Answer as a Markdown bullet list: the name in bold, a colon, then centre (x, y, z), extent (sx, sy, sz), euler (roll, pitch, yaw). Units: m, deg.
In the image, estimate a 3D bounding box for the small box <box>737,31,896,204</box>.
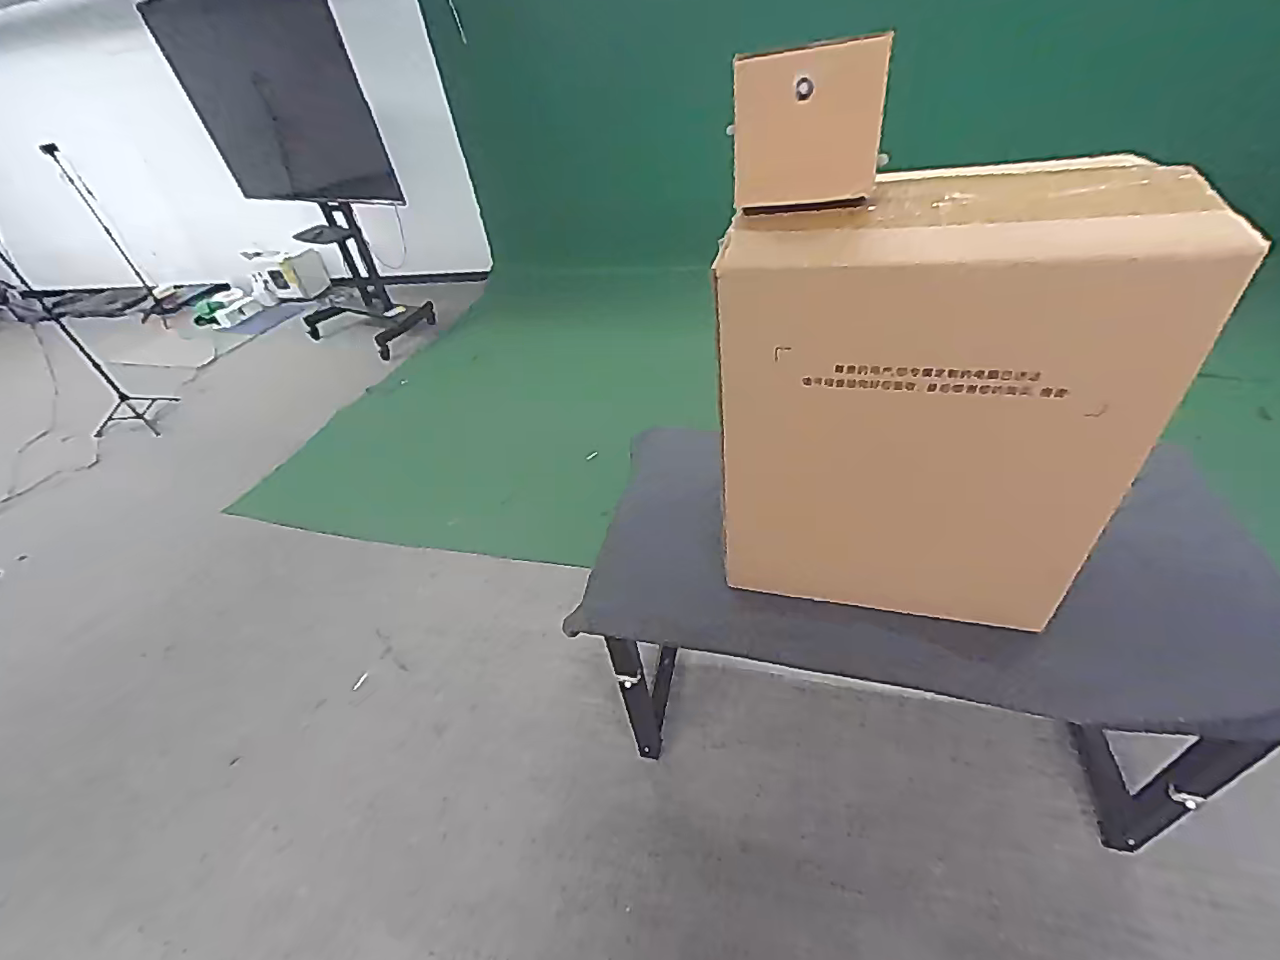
- **small box**: centre (0.226, -0.473, 0.722), extent (0.179, 0.176, 0.168), euler (5, 35, 14)
